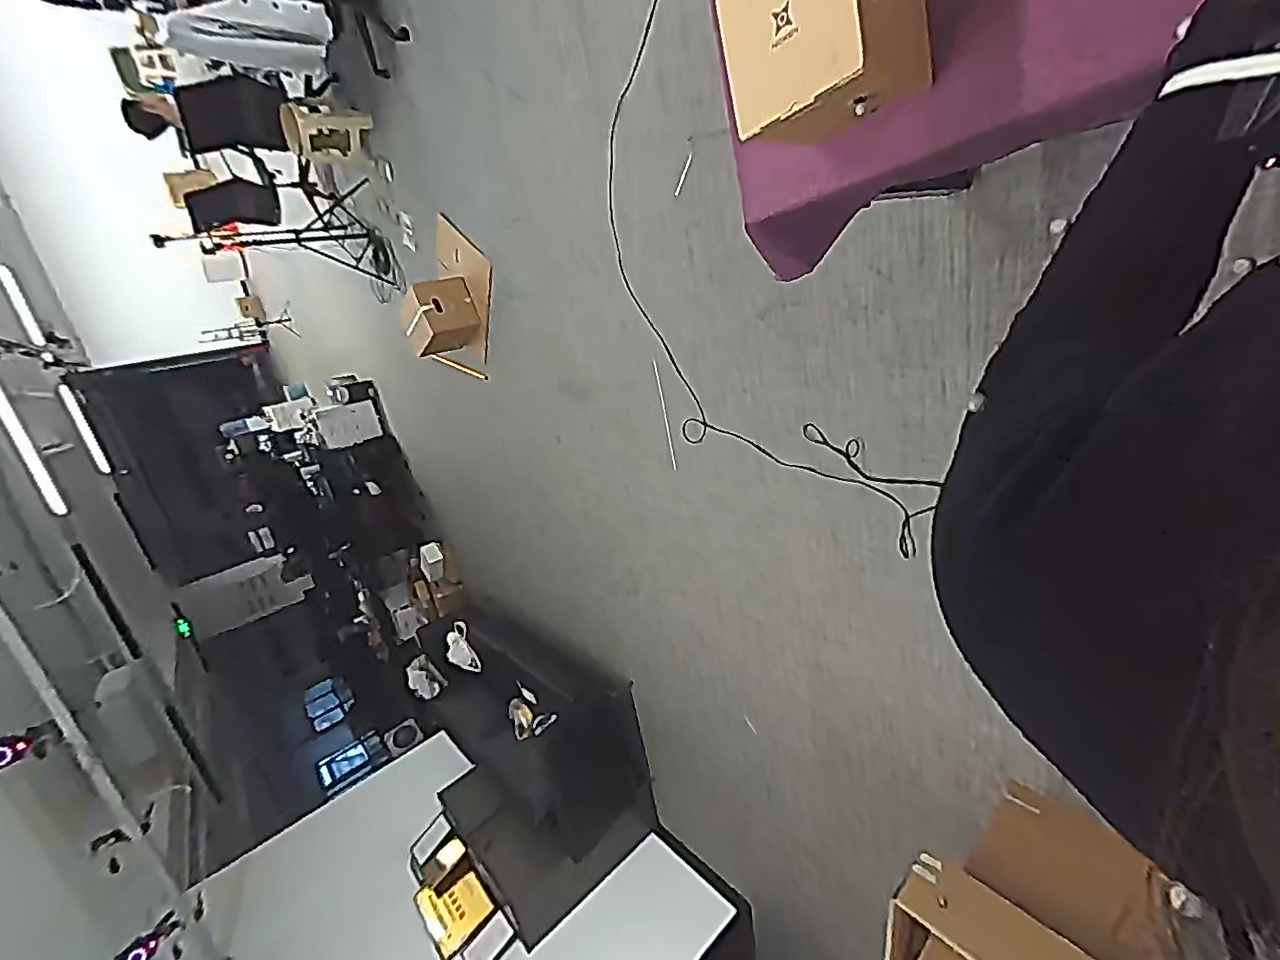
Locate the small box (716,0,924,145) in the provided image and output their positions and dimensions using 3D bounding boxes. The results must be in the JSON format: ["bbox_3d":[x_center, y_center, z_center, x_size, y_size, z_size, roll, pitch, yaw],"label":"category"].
[{"bbox_3d":[0.217,-0.526,0.642,0.168,0.176,0.179,3,111,50],"label":"small box"}]
